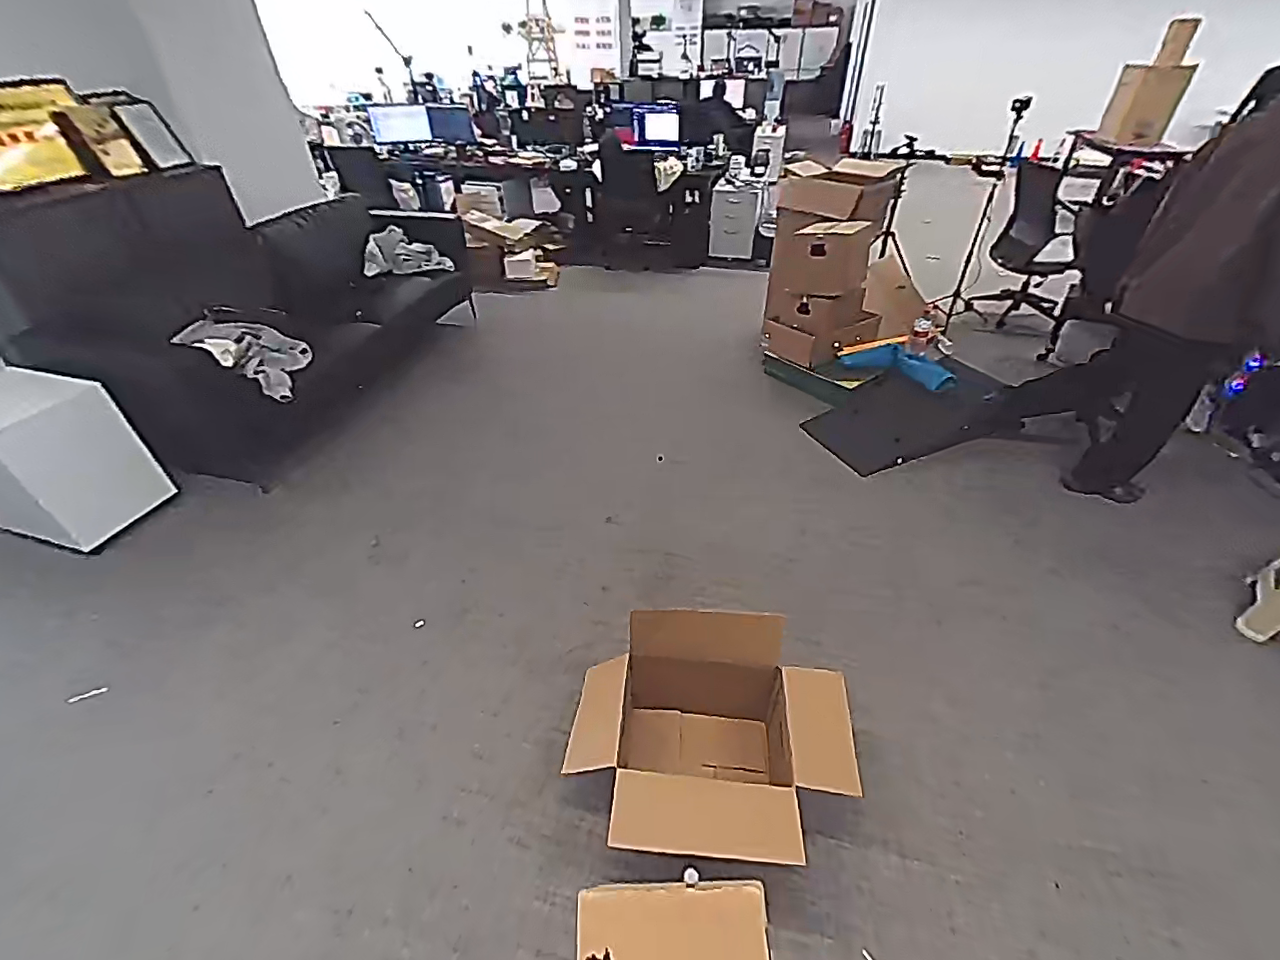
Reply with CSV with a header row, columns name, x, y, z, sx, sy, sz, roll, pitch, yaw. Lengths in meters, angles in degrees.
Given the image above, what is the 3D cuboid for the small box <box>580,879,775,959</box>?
name,x,y,z,sx,sy,sz,roll,pitch,yaw
small box,0.043,0.495,0.528,0.179,0.176,0.168,-7,53,6
